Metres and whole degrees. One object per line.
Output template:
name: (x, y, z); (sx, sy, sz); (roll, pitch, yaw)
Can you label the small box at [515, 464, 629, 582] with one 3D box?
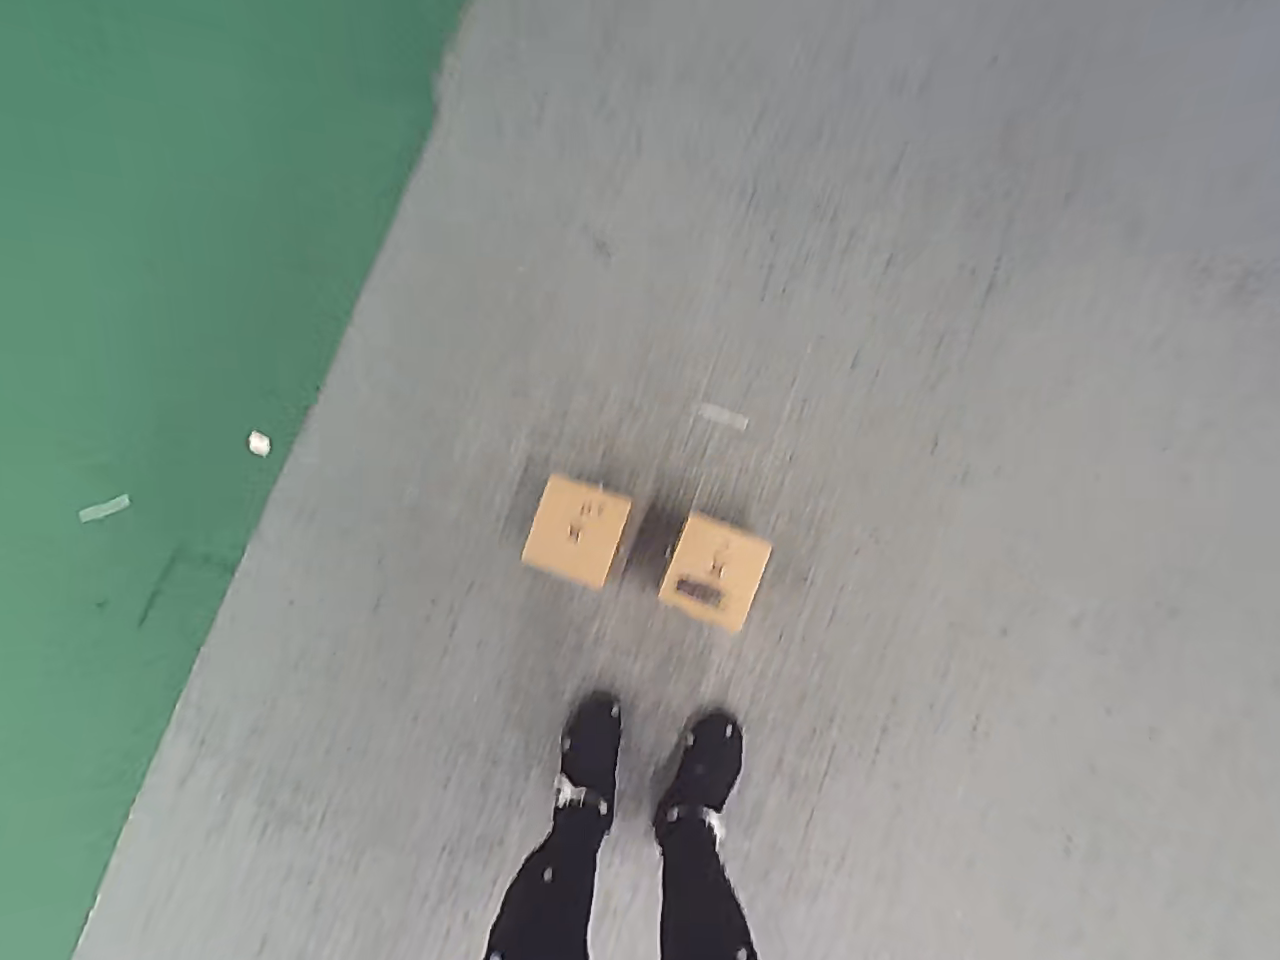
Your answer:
small box: (-0.125, 0.086, 1.082); (0.168, 0.176, 0.179); (21, 86, 3)
